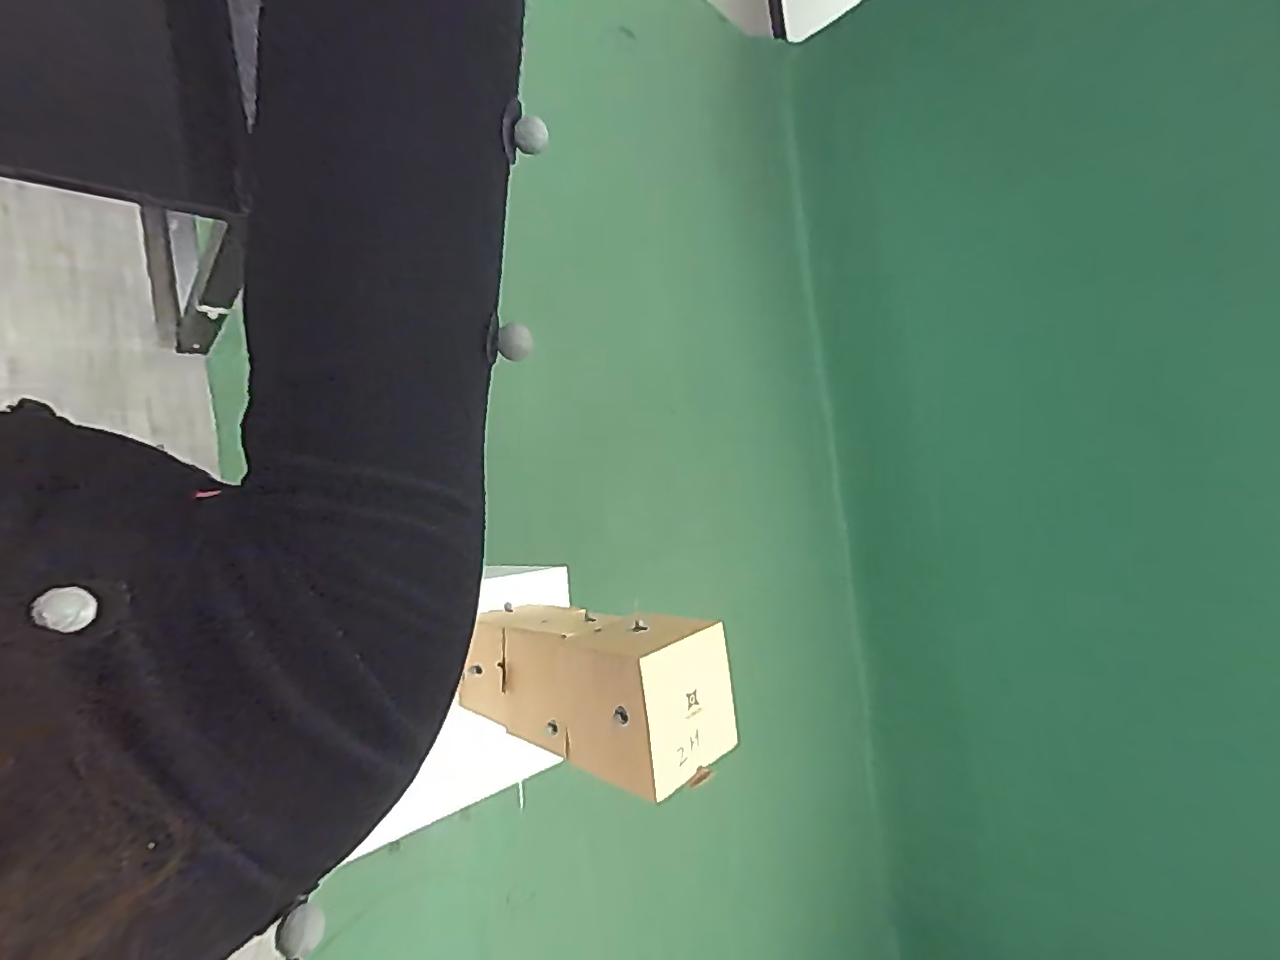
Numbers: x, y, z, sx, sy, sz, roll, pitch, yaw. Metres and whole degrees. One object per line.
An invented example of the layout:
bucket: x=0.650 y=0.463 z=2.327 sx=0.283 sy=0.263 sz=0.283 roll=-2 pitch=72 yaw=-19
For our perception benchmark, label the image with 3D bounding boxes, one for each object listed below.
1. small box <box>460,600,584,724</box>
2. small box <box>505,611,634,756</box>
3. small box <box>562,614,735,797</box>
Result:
small box: x=-0.216 y=0.318 z=0.983 sx=0.179 sy=0.176 sz=0.168 roll=0 pitch=86 yaw=-44
small box: x=-0.104 y=0.308 z=0.866 sx=0.168 sy=0.176 sz=0.179 roll=3 pitch=84 yaw=-45
small box: x=0.008 y=0.290 z=0.746 sx=0.168 sy=0.176 sz=0.179 roll=-7 pitch=91 yaw=-45
